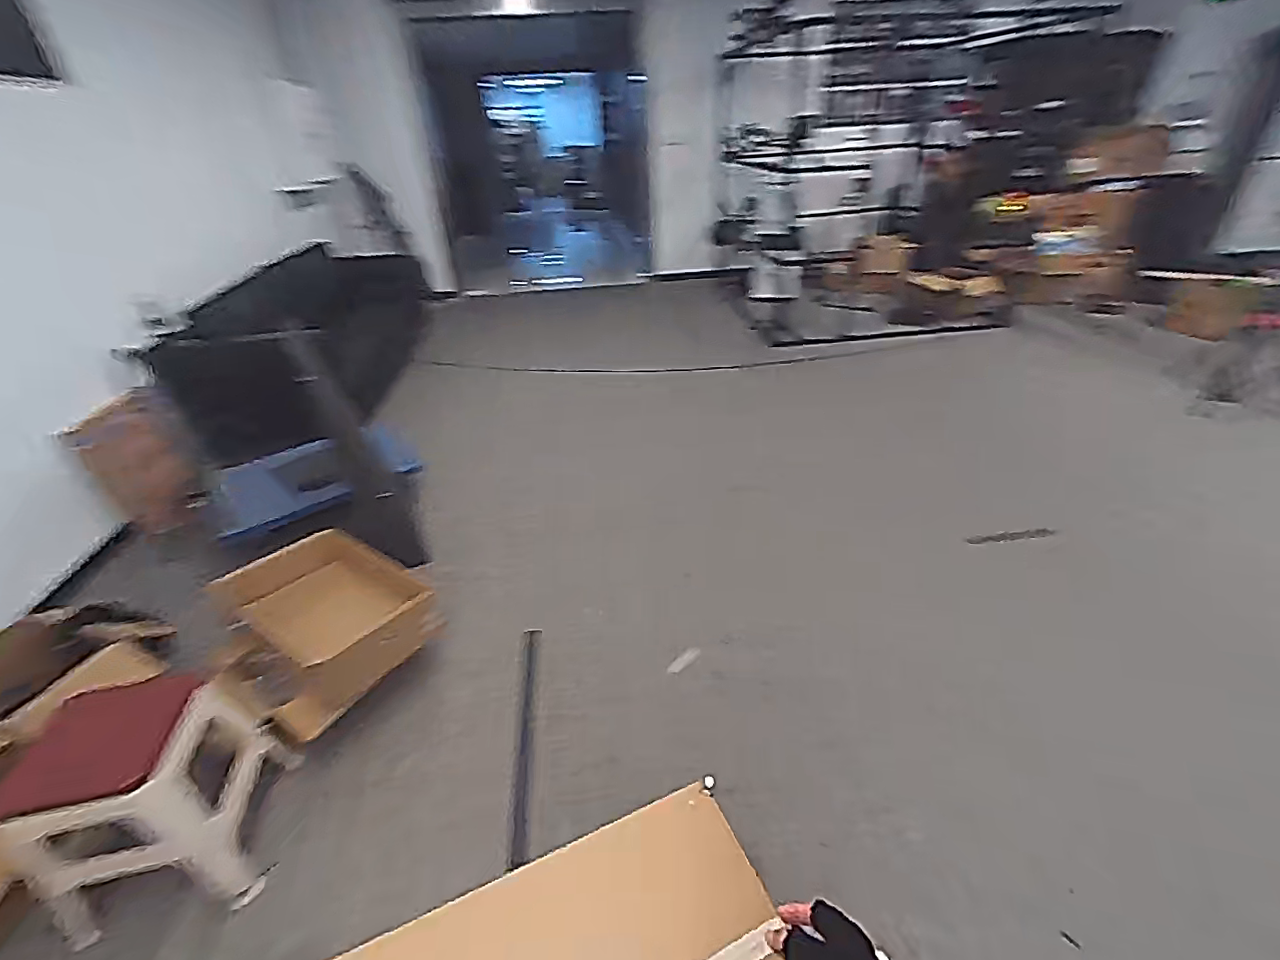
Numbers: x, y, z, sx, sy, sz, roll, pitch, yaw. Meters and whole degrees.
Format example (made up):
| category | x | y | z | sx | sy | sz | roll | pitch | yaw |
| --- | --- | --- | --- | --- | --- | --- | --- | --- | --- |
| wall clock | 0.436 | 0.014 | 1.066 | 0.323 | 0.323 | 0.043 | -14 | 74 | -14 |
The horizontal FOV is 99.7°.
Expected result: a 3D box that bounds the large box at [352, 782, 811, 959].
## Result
| category | x | y | z | sx | sy | sz | roll | pitch | yaw |
| --- | --- | --- | --- | --- | --- | --- | --- | --- | --- |
| large box | -0.032 | 0.602 | 0.537 | 0.408 | 0.320 | 0.320 | -13 | 35 | -19 |
